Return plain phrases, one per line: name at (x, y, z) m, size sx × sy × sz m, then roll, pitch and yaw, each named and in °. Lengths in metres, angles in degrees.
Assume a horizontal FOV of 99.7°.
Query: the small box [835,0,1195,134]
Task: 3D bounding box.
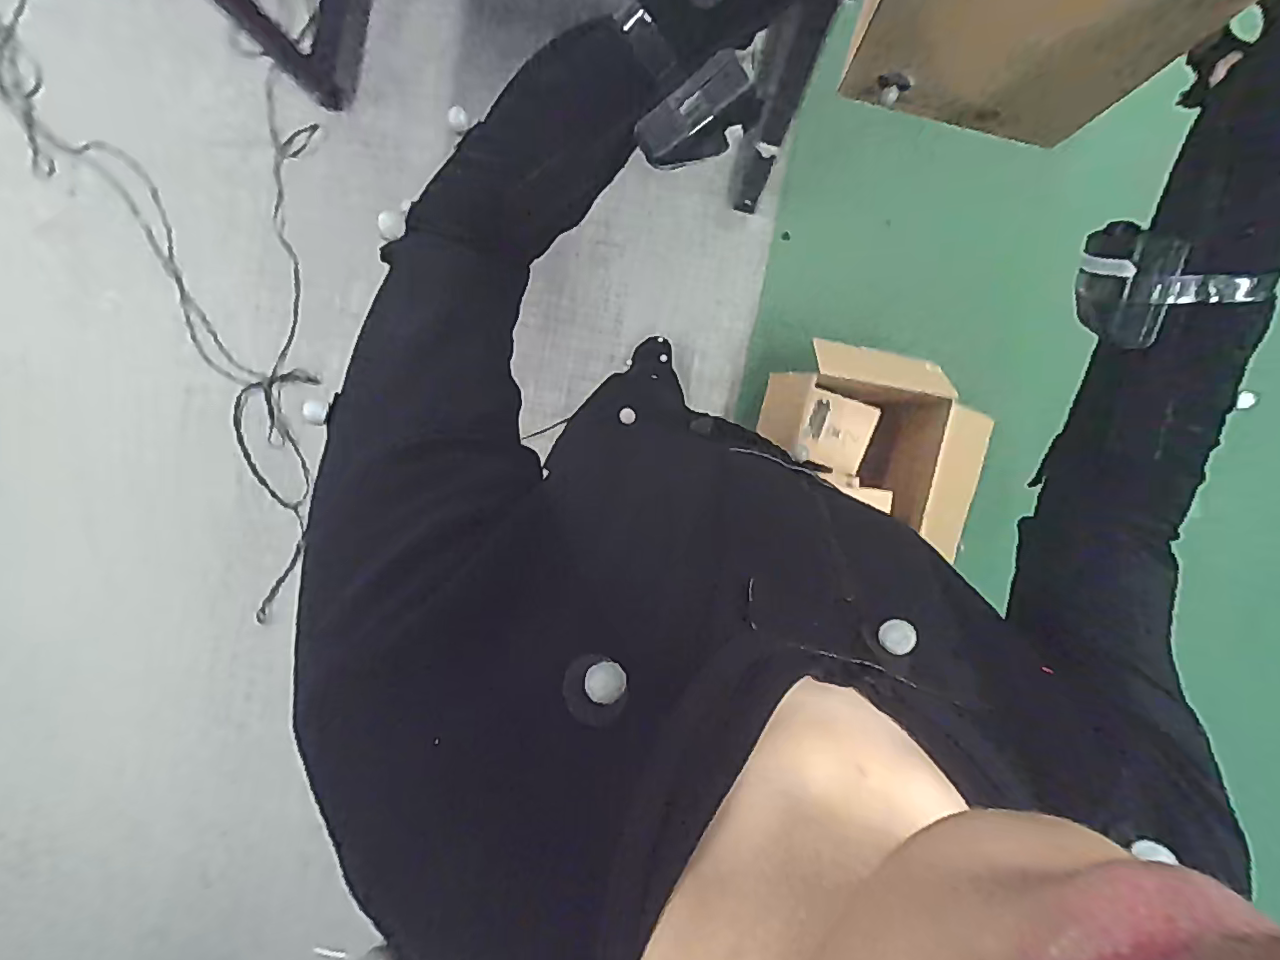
small box at (0.230, -0.341, 0.312) m, size 0.168 × 0.176 × 0.179 m, roll 15°, pitch 97°, yaw 2°
